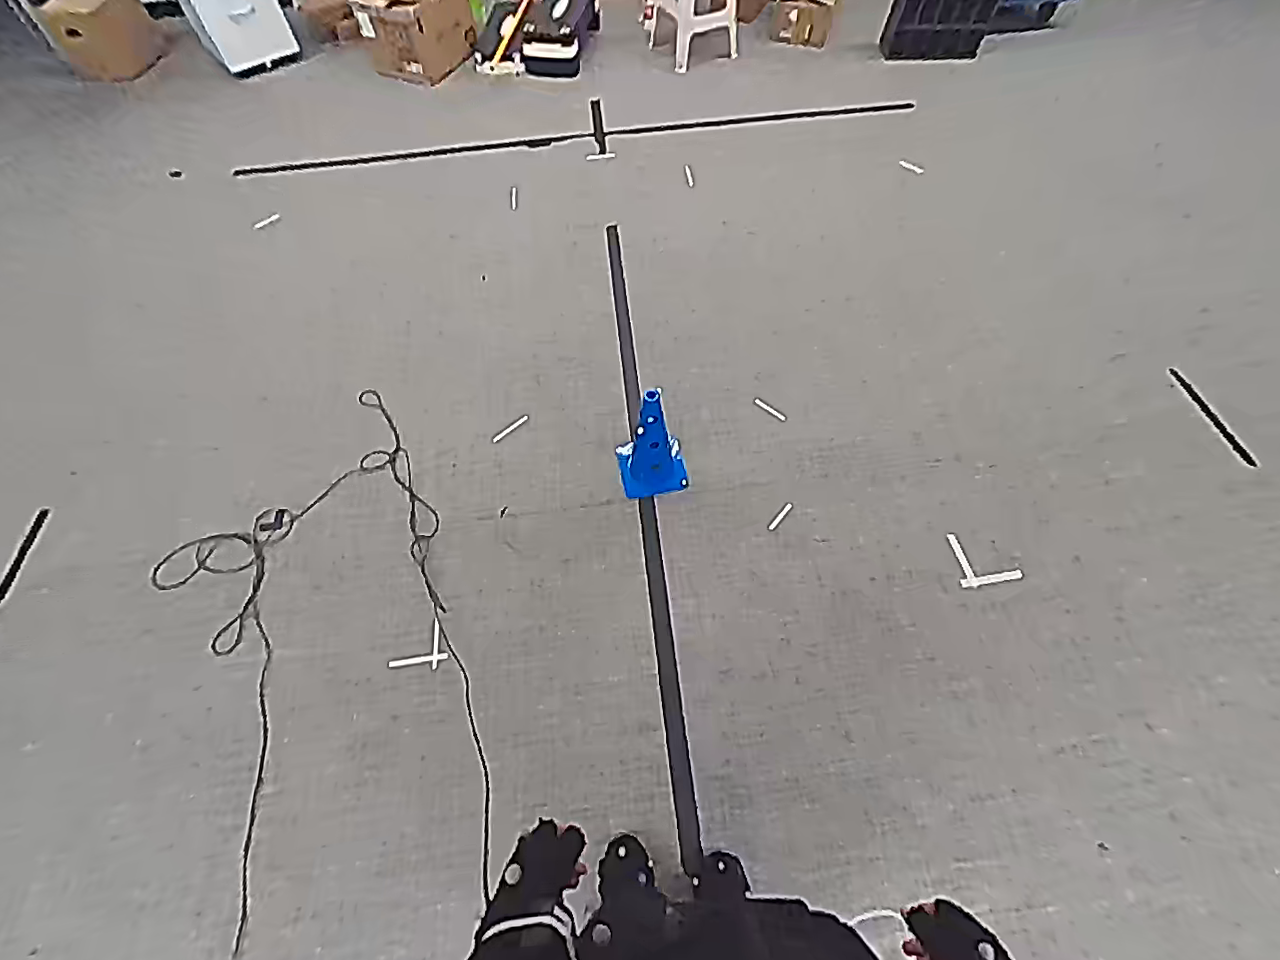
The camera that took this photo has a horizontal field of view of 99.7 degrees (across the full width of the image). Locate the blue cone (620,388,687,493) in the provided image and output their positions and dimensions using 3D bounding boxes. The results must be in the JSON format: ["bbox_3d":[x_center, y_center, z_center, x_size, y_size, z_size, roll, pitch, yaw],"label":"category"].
[{"bbox_3d":[0.037,-0.131,1.552,0.192,0.380,0.193,-9,60,-5],"label":"blue cone"}]
